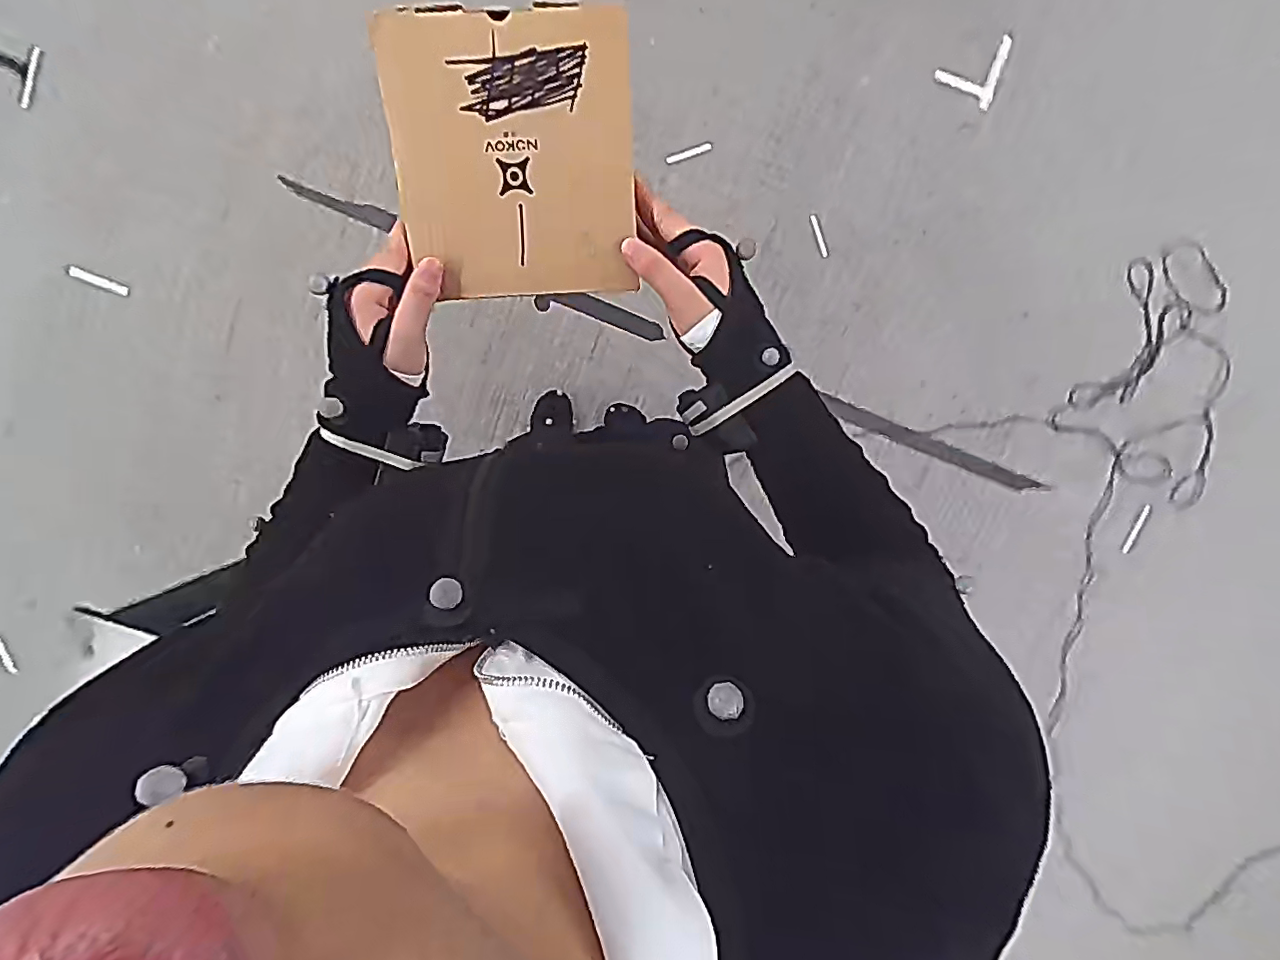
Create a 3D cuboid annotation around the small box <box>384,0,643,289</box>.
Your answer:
[{"bbox_3d":[-0.084,-0.252,0.447,0.168,0.176,0.179,-2,111,-2],"label":"small box"}]
